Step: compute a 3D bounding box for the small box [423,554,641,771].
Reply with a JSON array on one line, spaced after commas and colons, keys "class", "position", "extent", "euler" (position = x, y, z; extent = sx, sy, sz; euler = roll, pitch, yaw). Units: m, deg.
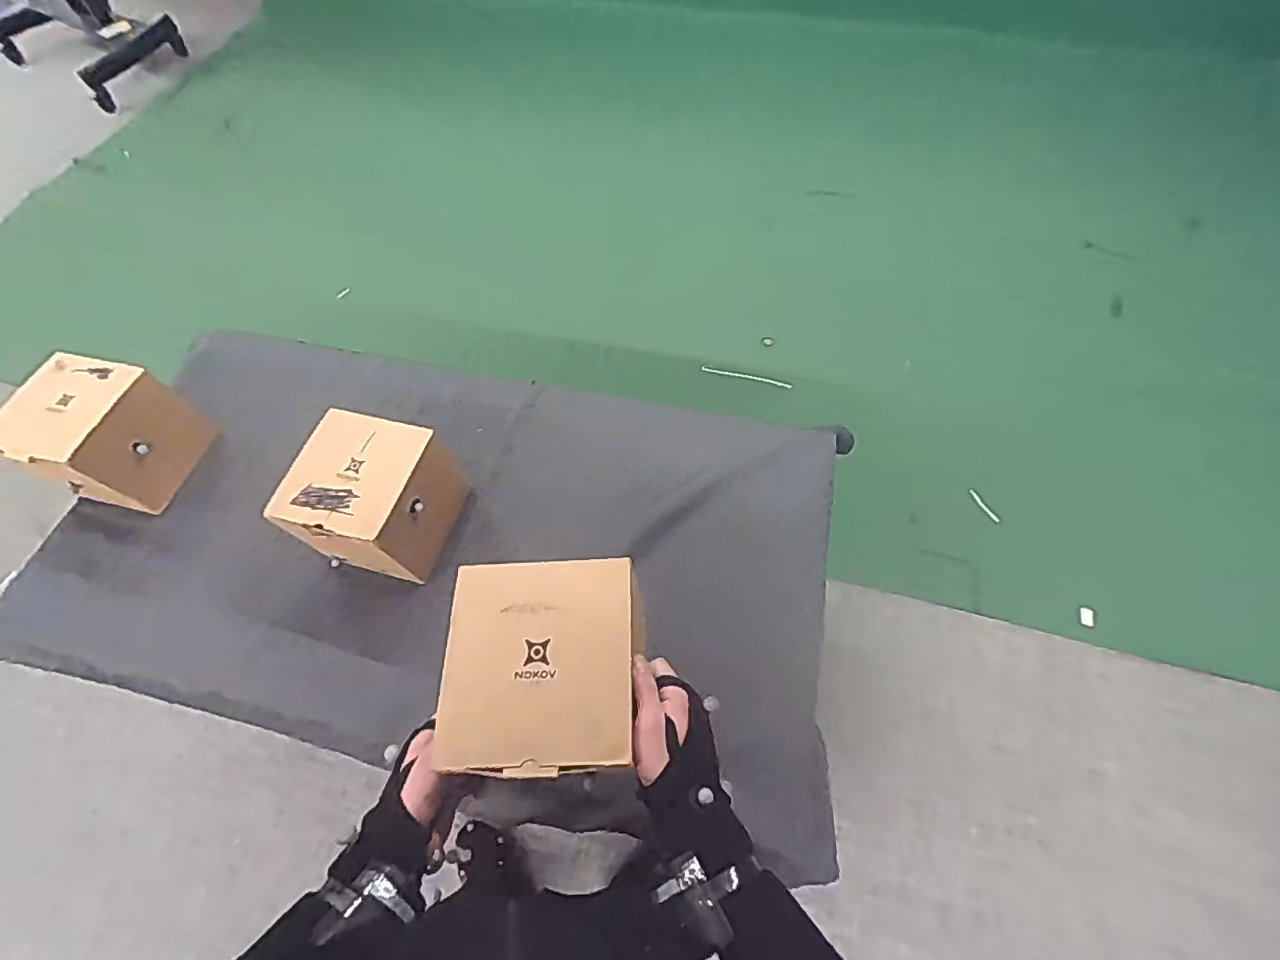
[{"class": "small box", "position": [-0.087, 0.186, 0.532], "extent": [0.168, 0.176, 0.179], "euler": [-3, 61, 3]}]

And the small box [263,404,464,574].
[{"class": "small box", "position": [-0.381, 0.020, 0.785], "extent": [0.168, 0.176, 0.179], "euler": [13, 63, 9]}]

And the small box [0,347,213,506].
[{"class": "small box", "position": [-0.839, -0.077, 0.854], "extent": [0.168, 0.176, 0.179], "euler": [12, 65, 7]}]
